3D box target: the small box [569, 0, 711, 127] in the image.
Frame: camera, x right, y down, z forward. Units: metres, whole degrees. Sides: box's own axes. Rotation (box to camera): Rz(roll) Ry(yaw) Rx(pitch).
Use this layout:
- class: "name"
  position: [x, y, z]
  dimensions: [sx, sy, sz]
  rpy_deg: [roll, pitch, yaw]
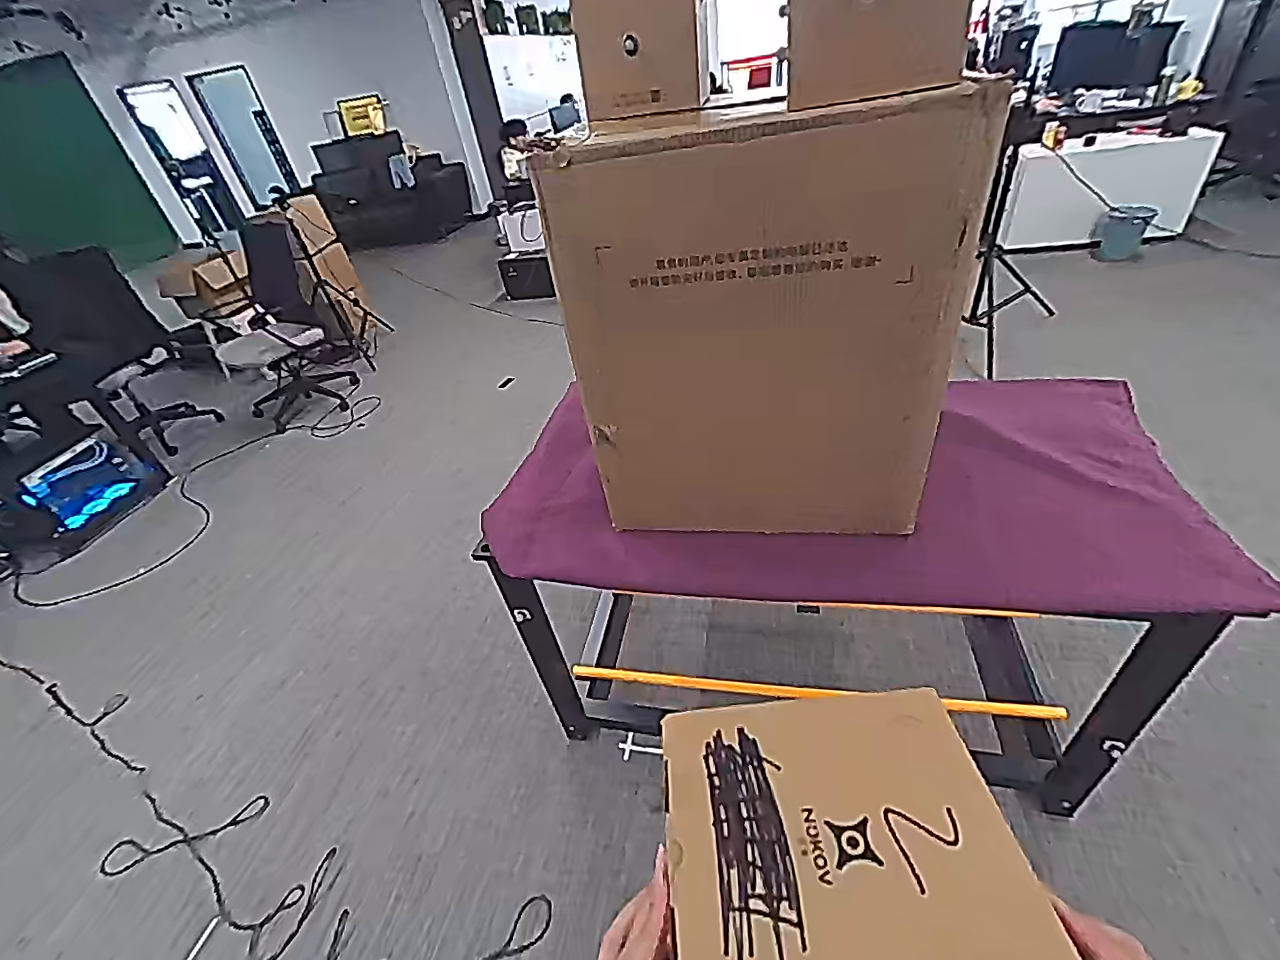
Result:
- class: "small box"
  position: [0.011, -0.623, 0.781]
  dimensions: [0.168, 0.176, 0.179]
  rpy_deg: [2, 39, 13]
